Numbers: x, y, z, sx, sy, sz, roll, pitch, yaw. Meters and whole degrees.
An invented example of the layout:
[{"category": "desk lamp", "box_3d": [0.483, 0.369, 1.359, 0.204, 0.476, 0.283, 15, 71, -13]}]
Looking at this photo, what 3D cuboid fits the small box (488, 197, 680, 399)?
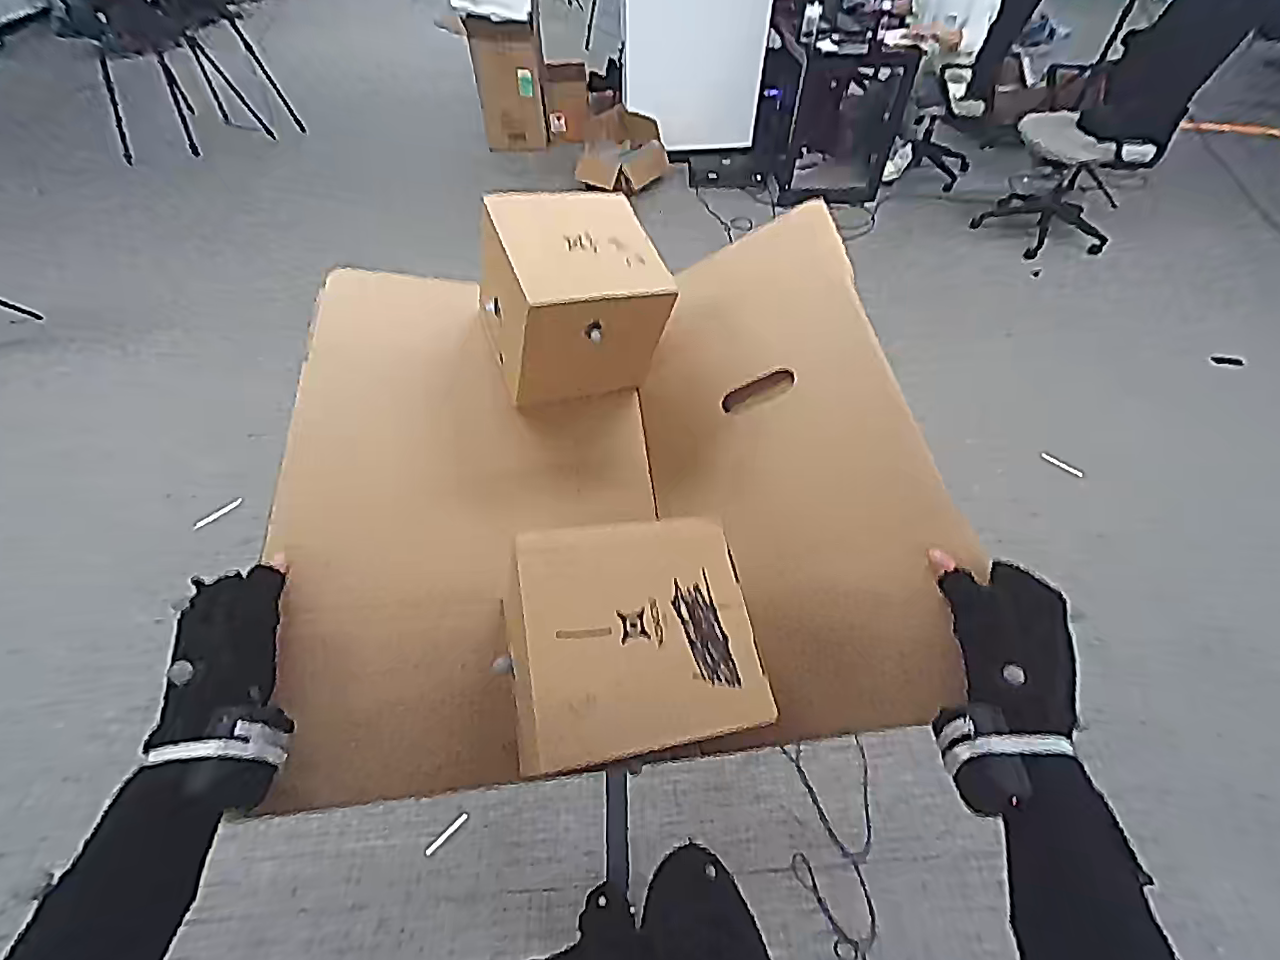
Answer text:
[{"category": "small box", "box_3d": [-0.081, -0.216, 0.661, 0.179, 0.176, 0.168, -13, 66, -24]}]
